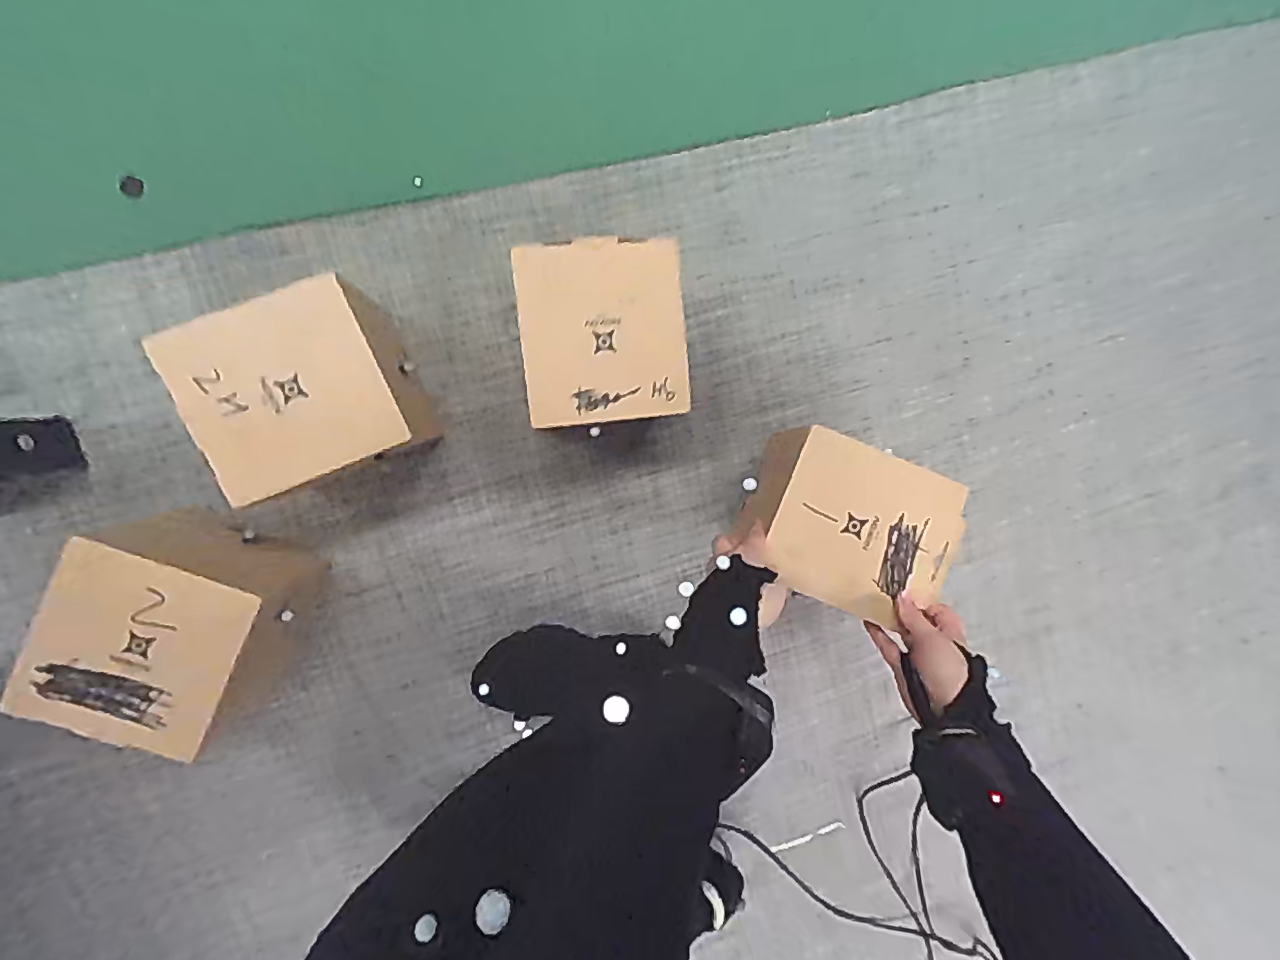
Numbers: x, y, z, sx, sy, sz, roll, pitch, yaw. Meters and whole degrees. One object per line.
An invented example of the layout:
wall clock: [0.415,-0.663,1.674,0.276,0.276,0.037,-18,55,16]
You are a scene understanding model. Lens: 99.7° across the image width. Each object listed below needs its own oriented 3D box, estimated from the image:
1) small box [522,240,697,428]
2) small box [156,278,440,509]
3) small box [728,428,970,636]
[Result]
small box: [-0.043,-0.153,0.613,0.168,0.176,0.179,-6,97,-10]
small box: [-0.329,-0.088,0.572,0.179,0.176,0.168,-23,99,-6]
small box: [0.222,0.049,0.623,0.179,0.176,0.168,23,91,-1]
